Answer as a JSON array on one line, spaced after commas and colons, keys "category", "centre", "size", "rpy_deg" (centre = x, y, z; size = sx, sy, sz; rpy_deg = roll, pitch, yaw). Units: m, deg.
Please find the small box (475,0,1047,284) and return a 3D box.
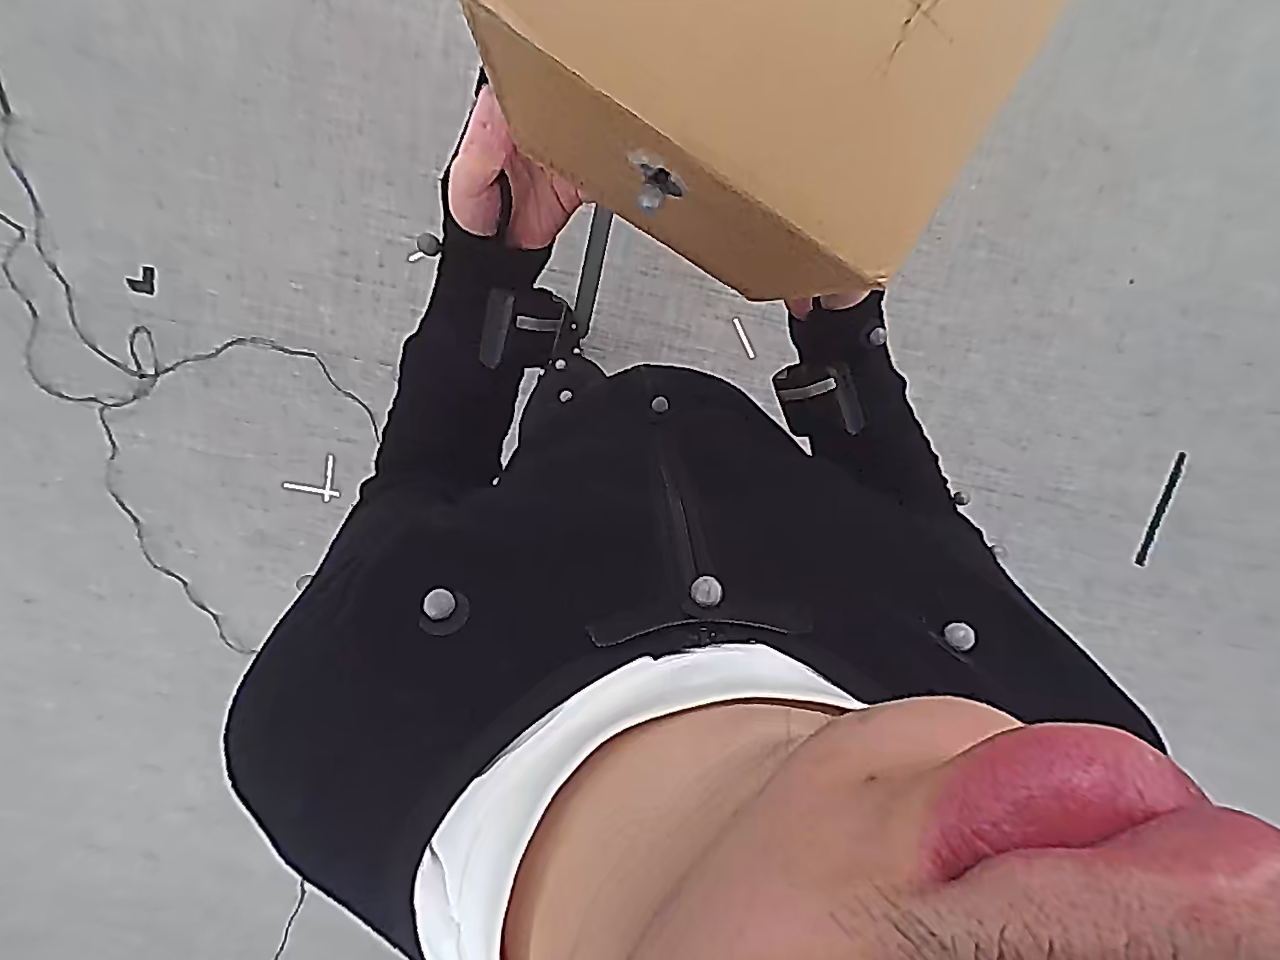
[{"category": "small box", "centre": [0.048, -0.208, 0.255], "size": [0.179, 0.176, 0.168], "rpy_deg": [27, 102, -13]}]
